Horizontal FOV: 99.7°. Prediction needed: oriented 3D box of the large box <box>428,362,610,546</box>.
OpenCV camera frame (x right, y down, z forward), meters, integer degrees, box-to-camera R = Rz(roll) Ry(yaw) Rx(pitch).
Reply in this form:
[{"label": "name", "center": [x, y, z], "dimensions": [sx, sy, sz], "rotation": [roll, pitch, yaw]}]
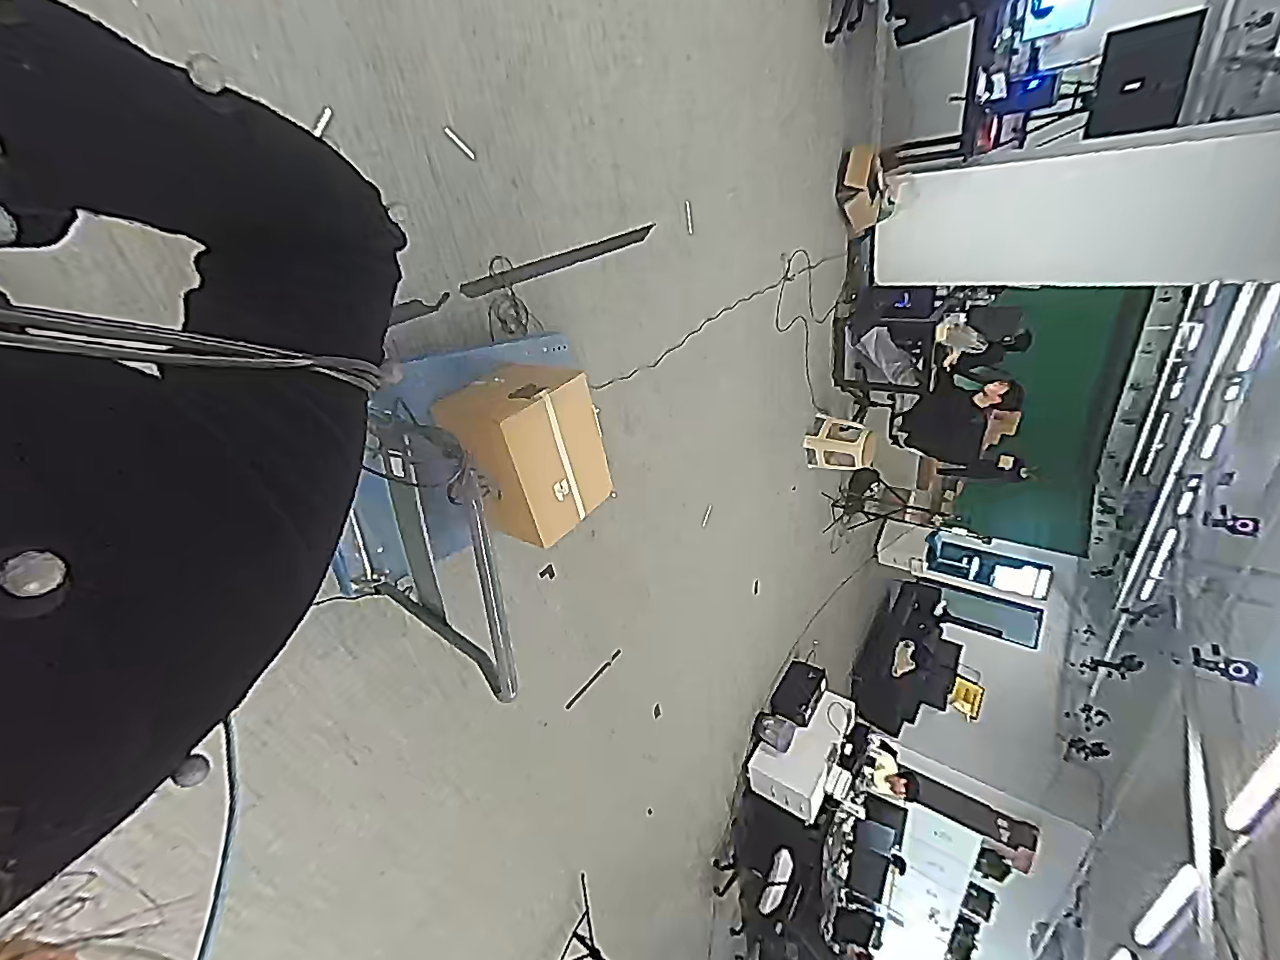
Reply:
[{"label": "large box", "center": [-0.334, -0.087, 1.559], "dimensions": [0.320, 0.320, 0.408], "rotation": [-41, 132, -38]}]
